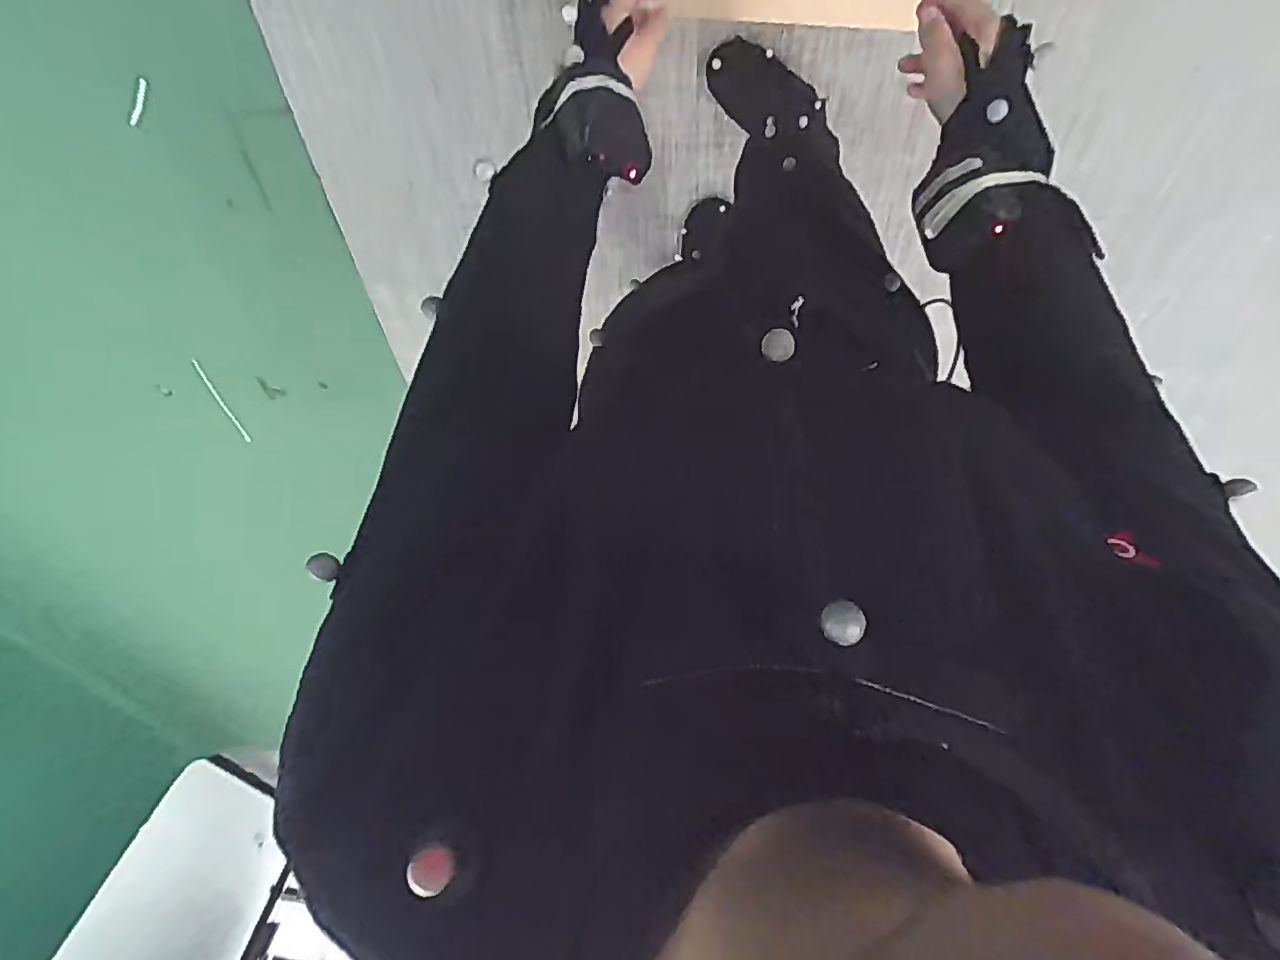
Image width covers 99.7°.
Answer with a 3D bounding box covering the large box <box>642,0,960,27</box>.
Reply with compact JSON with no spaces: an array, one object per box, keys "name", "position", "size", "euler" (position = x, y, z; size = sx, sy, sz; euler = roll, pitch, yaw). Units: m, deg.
[{"name":"large box","position":[0.214,-0.804,0.699],"size":[0.408,0.320,0.320],"euler":[5,135,3]}]
